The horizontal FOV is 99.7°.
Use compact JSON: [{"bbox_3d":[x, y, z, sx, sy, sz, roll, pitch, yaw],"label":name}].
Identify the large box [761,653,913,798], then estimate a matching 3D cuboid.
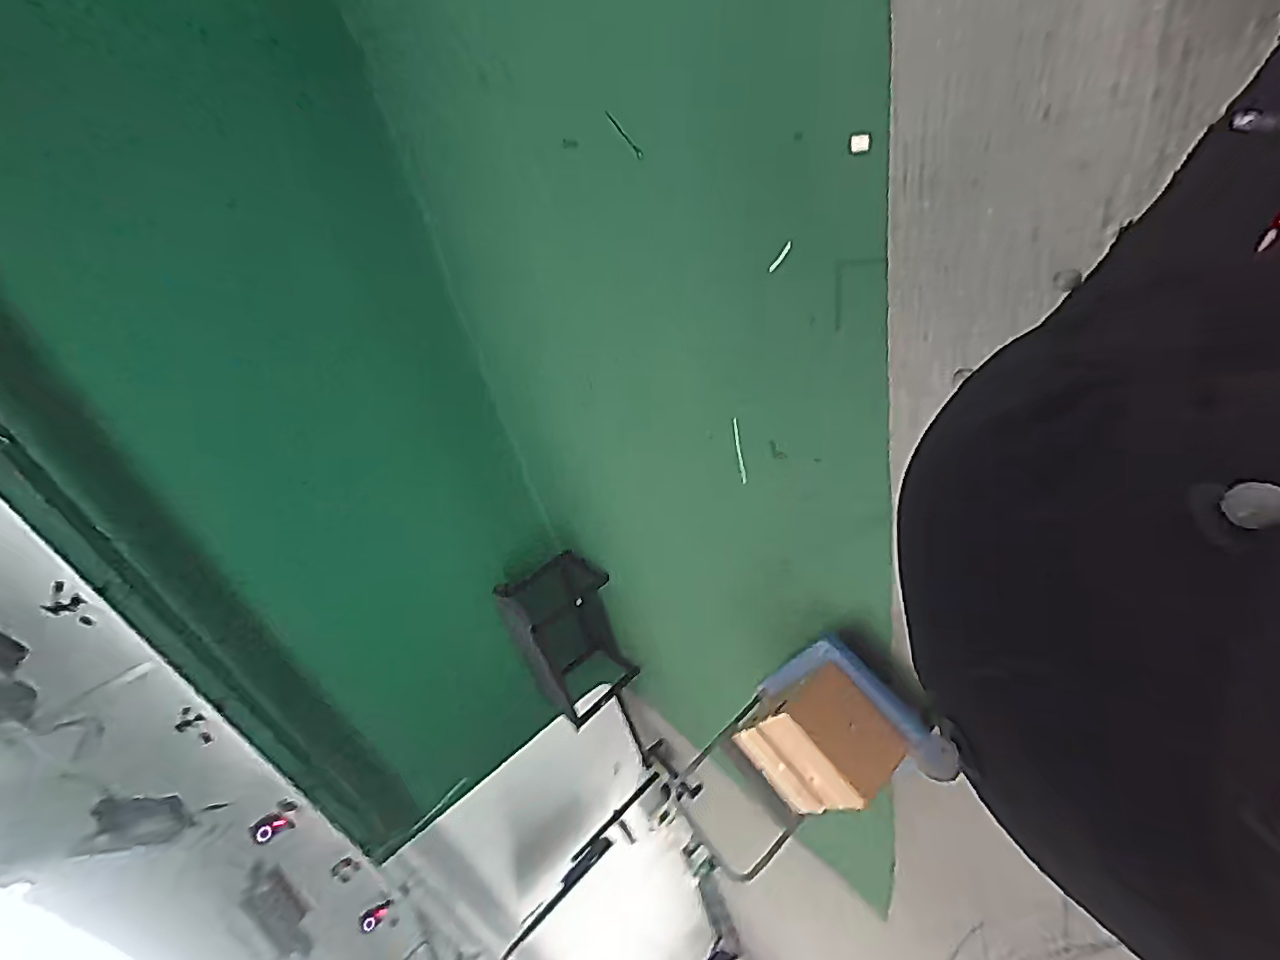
[{"bbox_3d":[0.770,0.974,2.149,0.408,0.320,0.320,47,152,17],"label":"large box"}]
